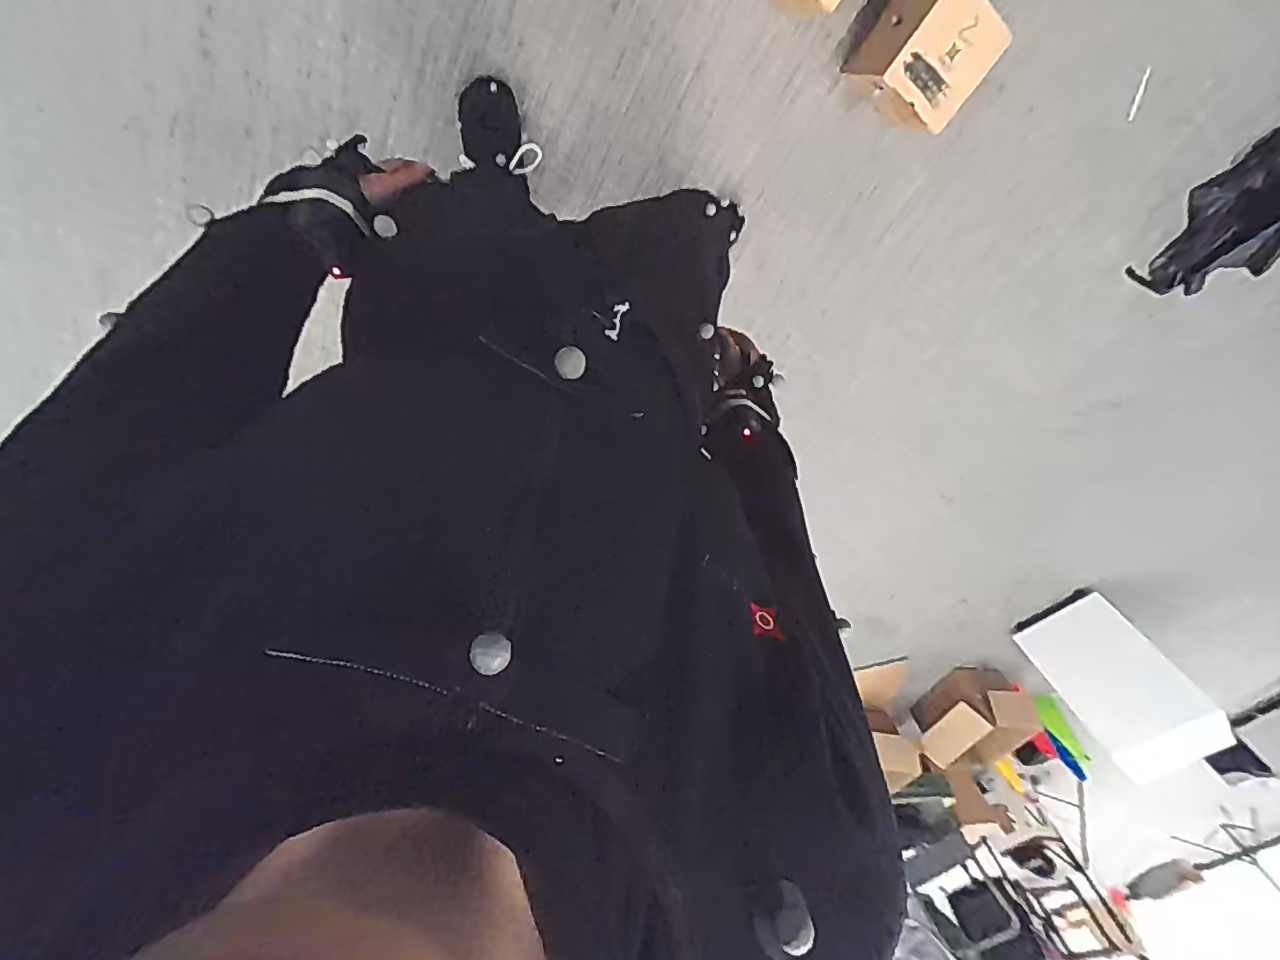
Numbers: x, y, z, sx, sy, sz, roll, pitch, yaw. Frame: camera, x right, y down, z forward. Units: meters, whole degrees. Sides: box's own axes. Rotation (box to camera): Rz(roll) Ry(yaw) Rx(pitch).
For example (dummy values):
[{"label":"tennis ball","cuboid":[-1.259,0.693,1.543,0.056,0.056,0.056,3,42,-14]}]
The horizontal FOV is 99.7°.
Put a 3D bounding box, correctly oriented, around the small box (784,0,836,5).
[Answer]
[{"label":"small box","cuboid":[0.266,-0.887,0.836,0.168,0.176,0.179,19,123,-26]}]
